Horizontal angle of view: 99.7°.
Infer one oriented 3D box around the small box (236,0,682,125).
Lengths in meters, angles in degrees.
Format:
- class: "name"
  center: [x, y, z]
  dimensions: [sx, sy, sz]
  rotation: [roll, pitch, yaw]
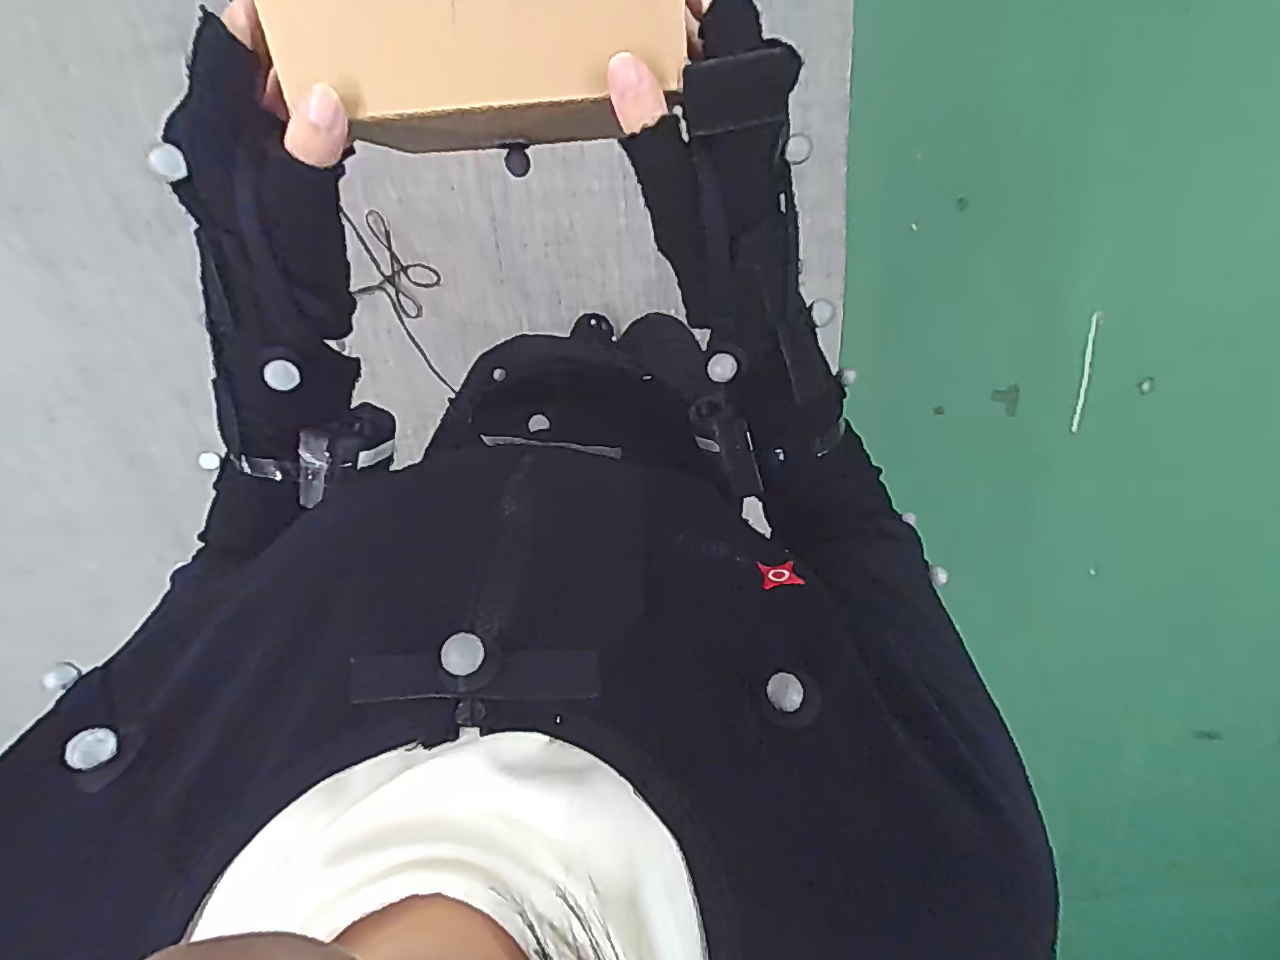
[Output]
- class: "small box"
  center: [-0.074, -0.276, 0.239]
  dimensions: [0.168, 0.176, 0.179]
  rotation: [-5, 118, 0]
